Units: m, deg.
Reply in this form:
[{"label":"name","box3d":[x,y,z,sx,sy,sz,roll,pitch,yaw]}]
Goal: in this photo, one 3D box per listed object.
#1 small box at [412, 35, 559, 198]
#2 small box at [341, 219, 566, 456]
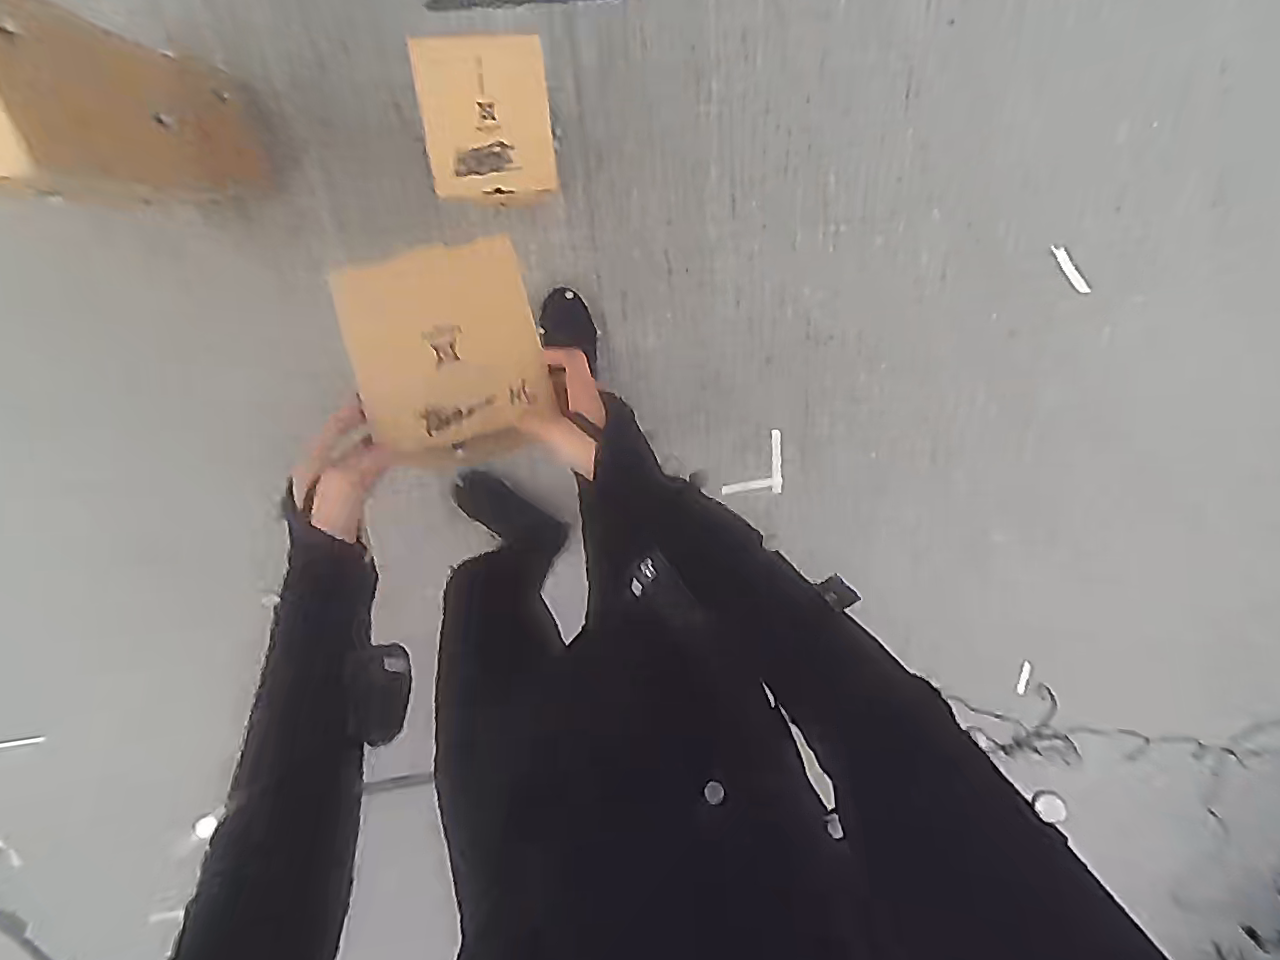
[{"label":"small box","box3d":[-0.207,-0.508,0.780,0.168,0.176,0.179,-6,115,-6]},{"label":"small box","box3d":[-0.177,-0.134,0.565,0.168,0.176,0.179,-15,88,-6]}]
